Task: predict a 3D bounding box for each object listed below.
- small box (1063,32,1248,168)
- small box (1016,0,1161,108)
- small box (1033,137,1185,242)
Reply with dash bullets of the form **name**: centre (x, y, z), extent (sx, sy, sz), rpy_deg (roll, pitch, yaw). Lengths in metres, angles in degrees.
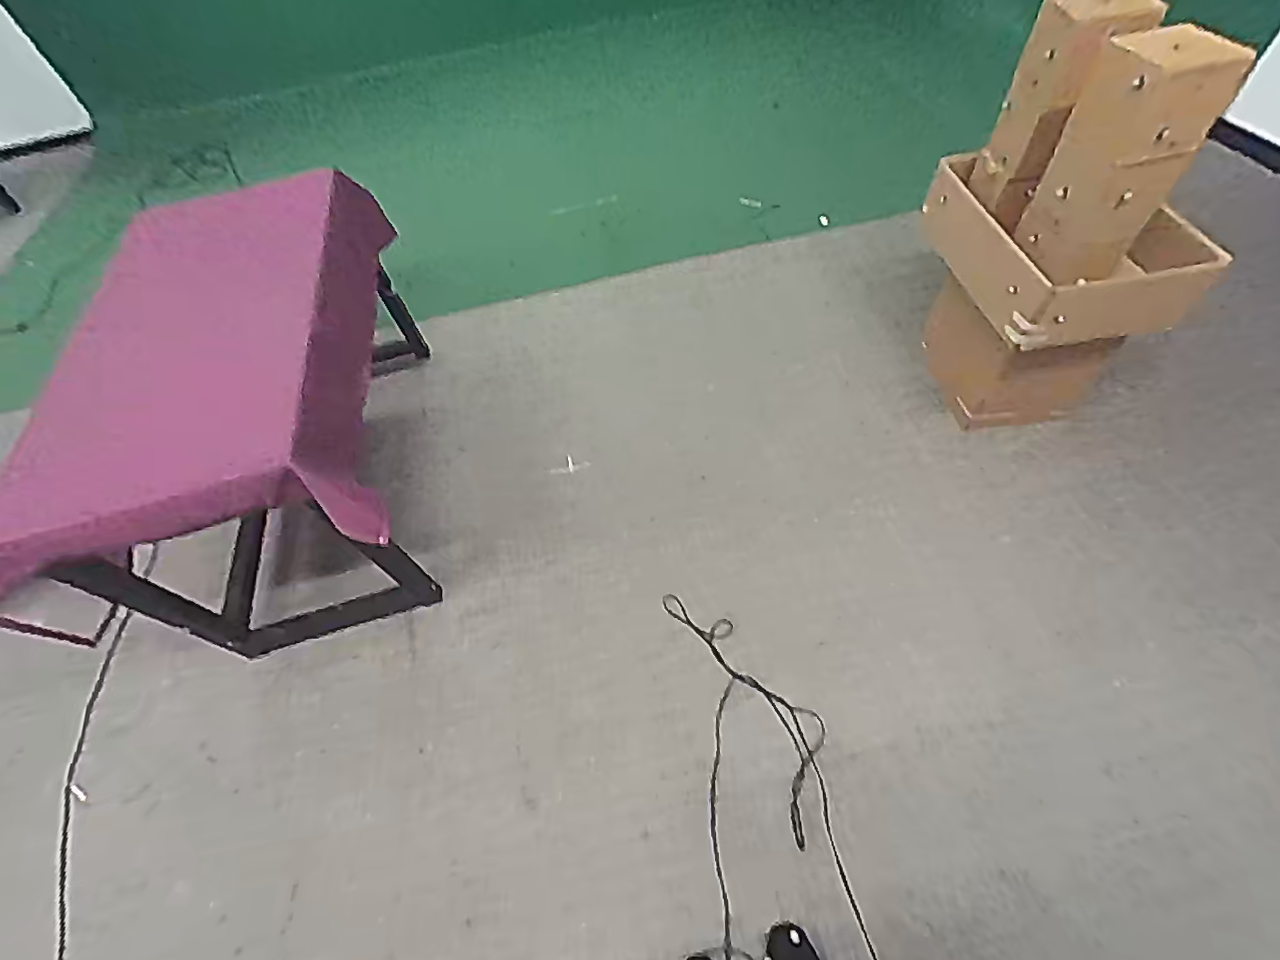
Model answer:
- **small box**: centre (1.009, -0.758, 1.083), extent (0.168, 0.176, 0.179), rpy_deg (-10, 55, 0)
- **small box**: centre (1.003, -0.981, 1.236), extent (0.179, 0.176, 0.168), rpy_deg (-4, 56, 4)
- **small box**: centre (1.029, -0.660, 1.213), extent (0.179, 0.176, 0.168), rpy_deg (-11, 54, 1)
